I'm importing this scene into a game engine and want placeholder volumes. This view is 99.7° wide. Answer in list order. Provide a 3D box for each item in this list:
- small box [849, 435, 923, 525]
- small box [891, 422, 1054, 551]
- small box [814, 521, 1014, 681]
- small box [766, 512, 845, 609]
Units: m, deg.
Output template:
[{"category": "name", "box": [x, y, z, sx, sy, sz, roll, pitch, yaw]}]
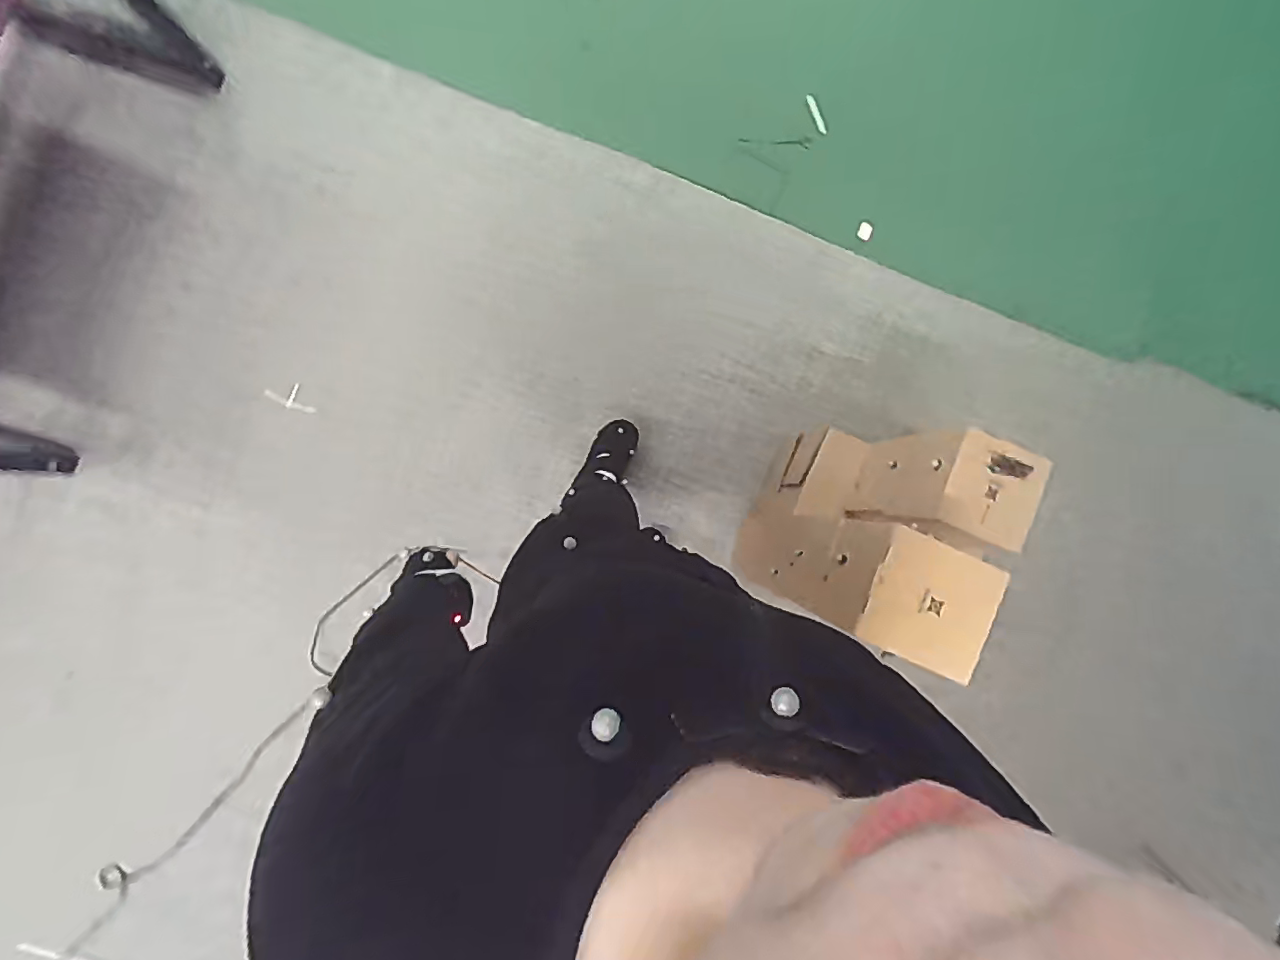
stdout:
[{"category": "small box", "box": [0.586, 0.018, 1.155, 0.179, 0.176, 0.168, 23, 86, -4]}, {"category": "small box", "box": [0.594, 0.015, 0.989, 0.168, 0.176, 0.179, 22, 85, -3]}, {"category": "small box", "box": [0.393, 0.166, 0.805, 0.179, 0.176, 0.168, 24, 87, -2]}, {"category": "small box", "box": [0.381, 0.177, 1.132, 0.168, 0.176, 0.179, 22, 86, -4]}]
